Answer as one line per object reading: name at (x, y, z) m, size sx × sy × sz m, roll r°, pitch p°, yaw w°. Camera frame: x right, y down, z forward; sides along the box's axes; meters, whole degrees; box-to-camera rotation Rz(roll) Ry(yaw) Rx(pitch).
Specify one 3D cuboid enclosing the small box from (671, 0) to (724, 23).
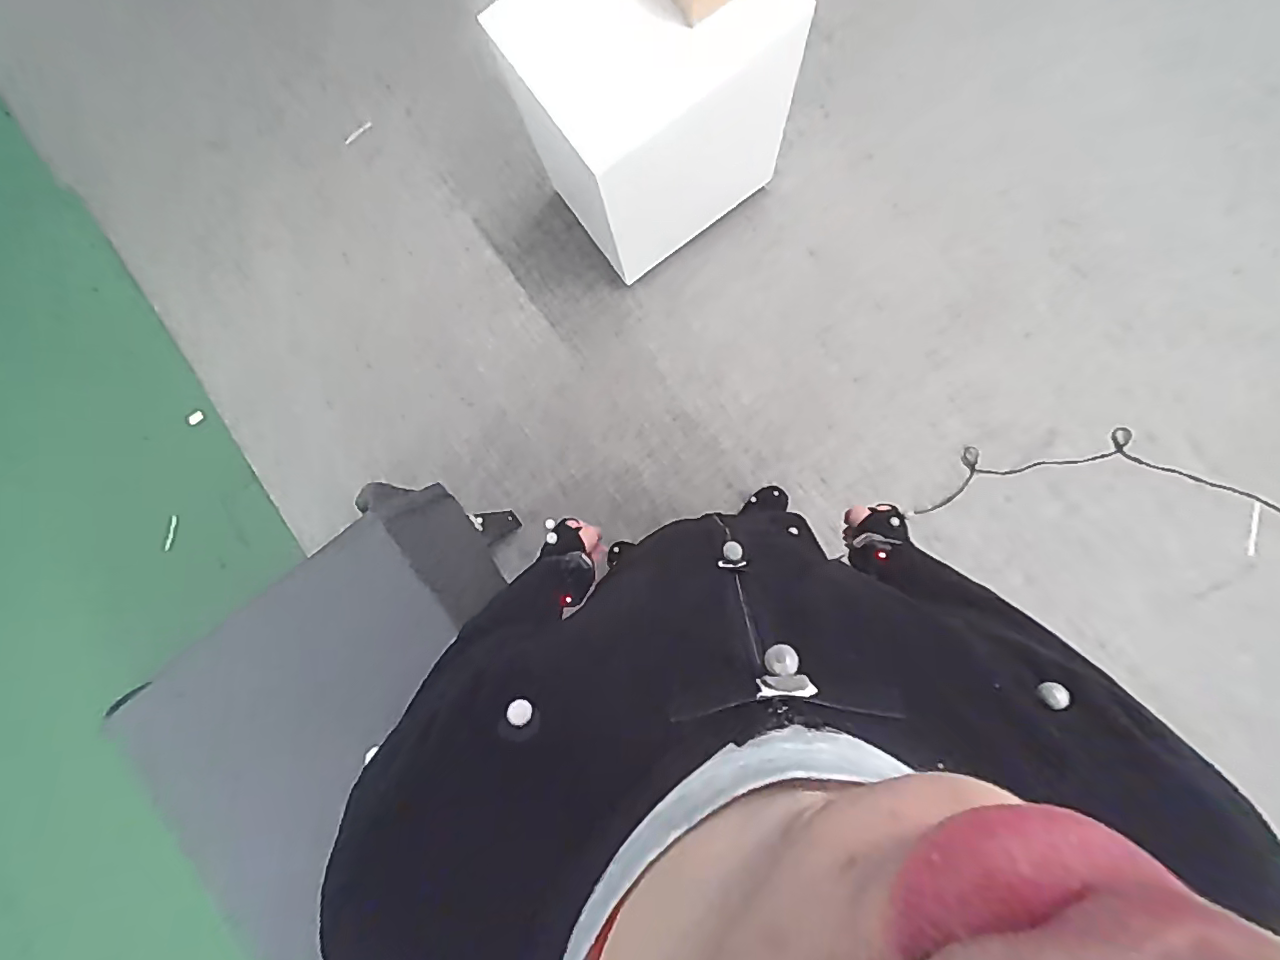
small box at (0.111, -0.953, 0.917) m, size 0.179 × 0.176 × 0.168 m, roll -34°, pitch 85°, yaw 5°
